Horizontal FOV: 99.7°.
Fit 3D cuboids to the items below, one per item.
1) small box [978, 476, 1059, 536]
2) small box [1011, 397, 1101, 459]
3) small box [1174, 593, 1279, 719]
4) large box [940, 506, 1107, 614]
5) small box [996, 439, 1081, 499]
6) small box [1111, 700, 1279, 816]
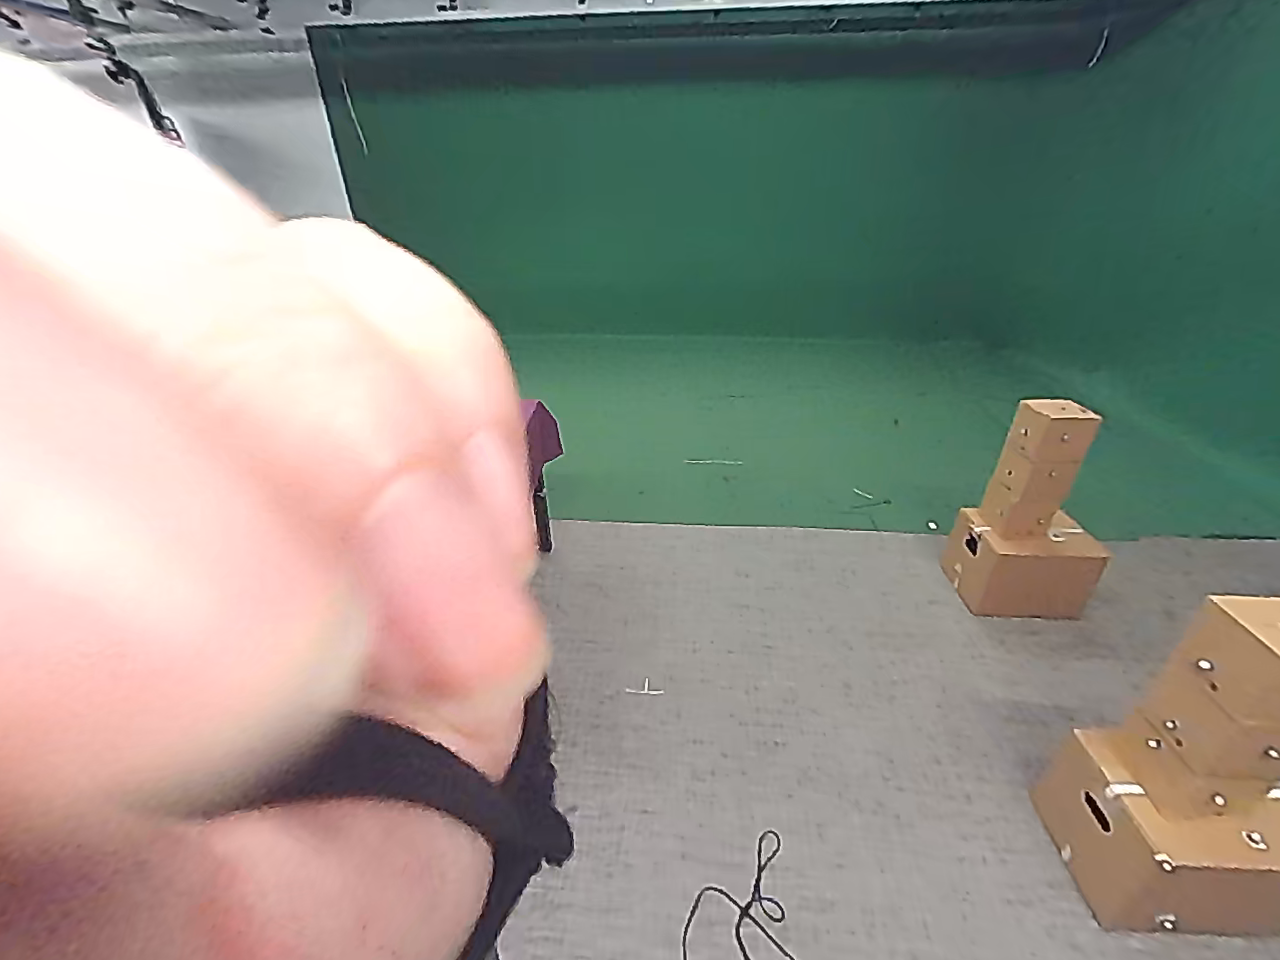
[{"bbox_3d":[1.434,0.099,2.060,0.168,0.176,0.179,1,30,2],"label":"small box"},{"bbox_3d":[1.438,-0.182,1.889,0.179,0.176,0.168,0,31,1],"label":"small box"},{"bbox_3d":[1.200,0.338,1.031,0.179,0.176,0.168,1,30,6],"label":"small box"},{"bbox_3d":[1.505,0.318,2.166,0.408,0.320,0.320,2,31,3],"label":"large box"},{"bbox_3d":[1.440,-0.041,1.975,0.179,0.176,0.168,0,31,-2],"label":"small box"},{"bbox_3d":[1.218,0.618,1.203,0.168,0.176,0.179,0,30,2],"label":"small box"}]
